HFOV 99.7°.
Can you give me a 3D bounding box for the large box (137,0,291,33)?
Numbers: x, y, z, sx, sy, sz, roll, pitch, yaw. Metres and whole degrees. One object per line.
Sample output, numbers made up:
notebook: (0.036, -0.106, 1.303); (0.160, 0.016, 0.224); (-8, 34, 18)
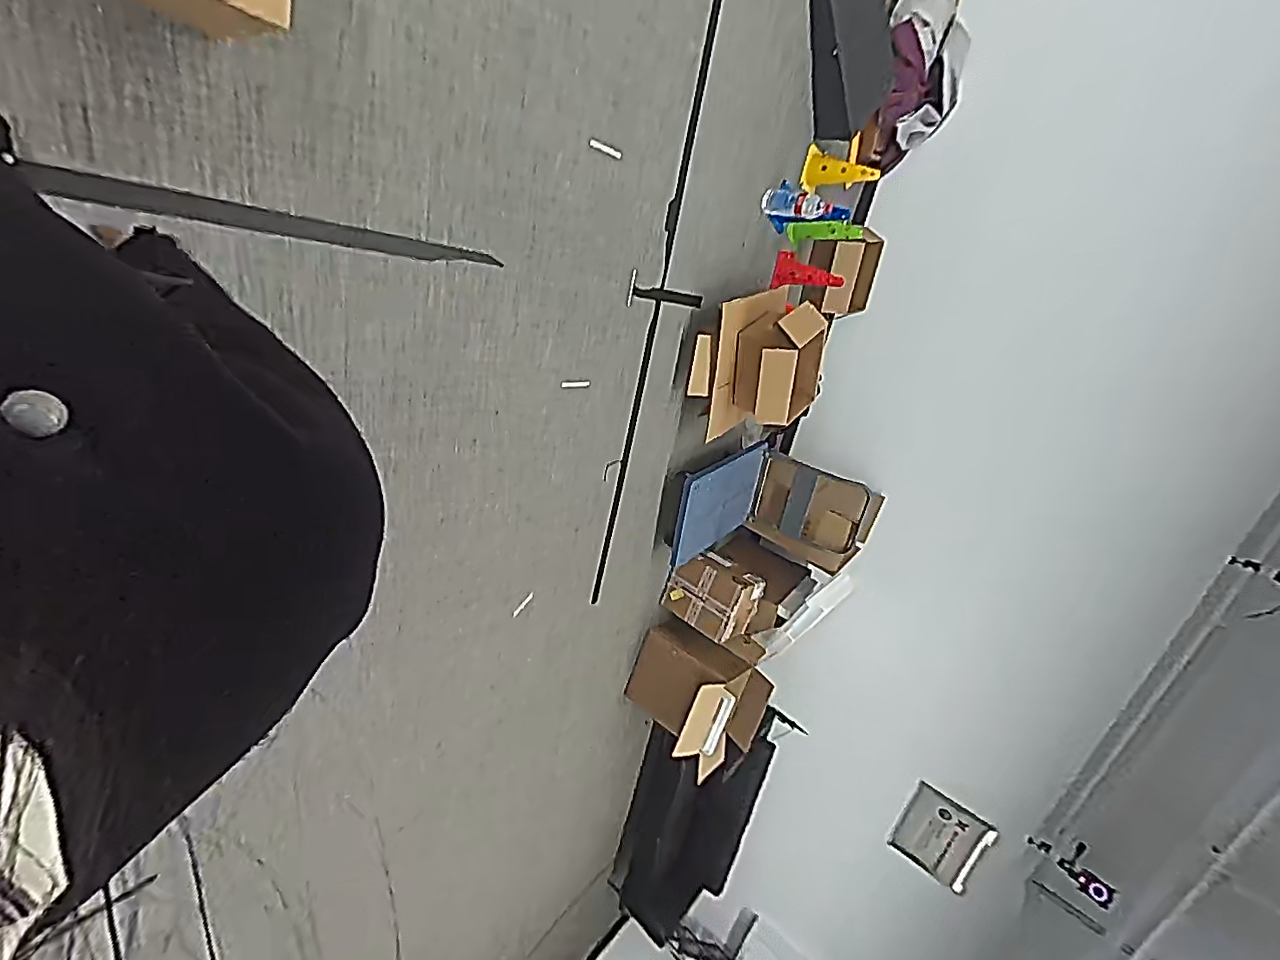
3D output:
large box: (-0.756, -0.888, 0.729); (0.408, 0.320, 0.320); (-13, 123, -53)
